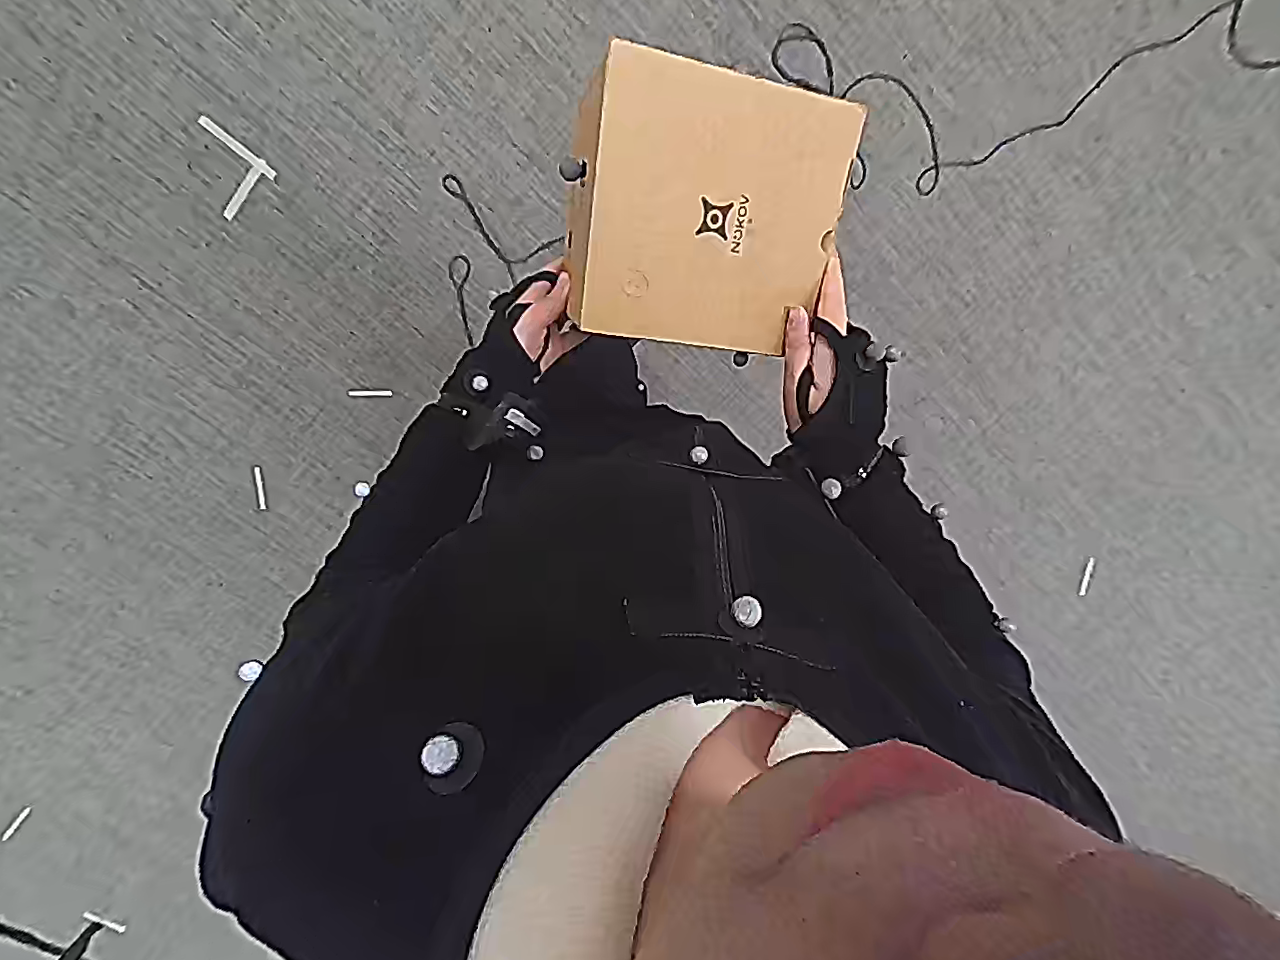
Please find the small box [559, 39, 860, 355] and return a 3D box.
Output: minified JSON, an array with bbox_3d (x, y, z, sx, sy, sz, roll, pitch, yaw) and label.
[{"bbox_3d":[0.033,-0.203,0.431,0.179,0.176,0.168,3,111,-15],"label":"small box"}]
